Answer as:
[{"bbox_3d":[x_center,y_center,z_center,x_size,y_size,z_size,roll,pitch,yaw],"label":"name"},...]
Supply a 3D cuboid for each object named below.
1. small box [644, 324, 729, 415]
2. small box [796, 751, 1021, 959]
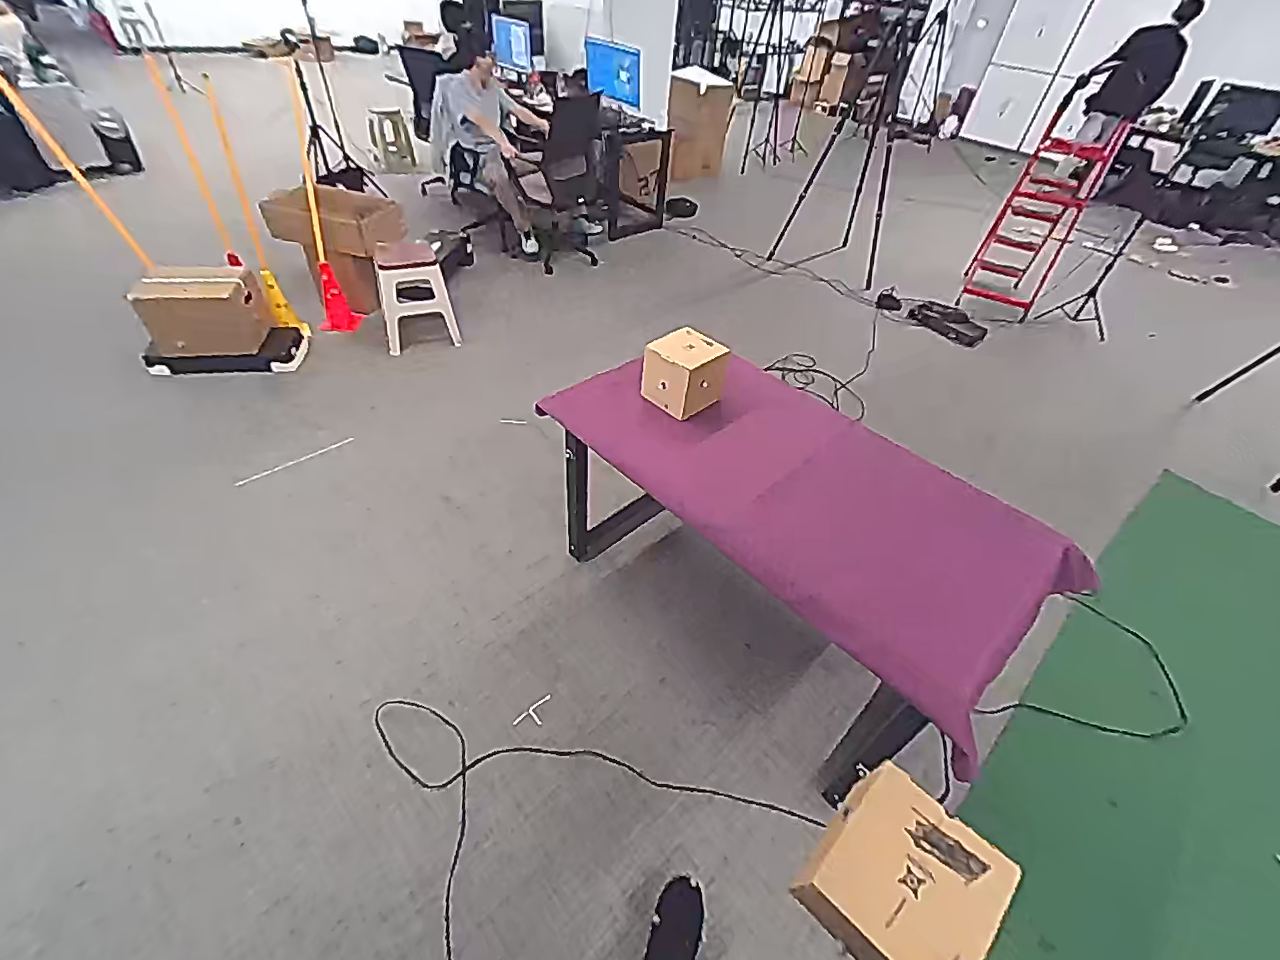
[{"bbox_3d":[0.126,-0.311,1.529,0.179,0.176,0.168,-33,57,-32],"label":"small box"},{"bbox_3d":[0.313,0.478,0.666,0.168,0.176,0.179,35,62,29],"label":"small box"}]
